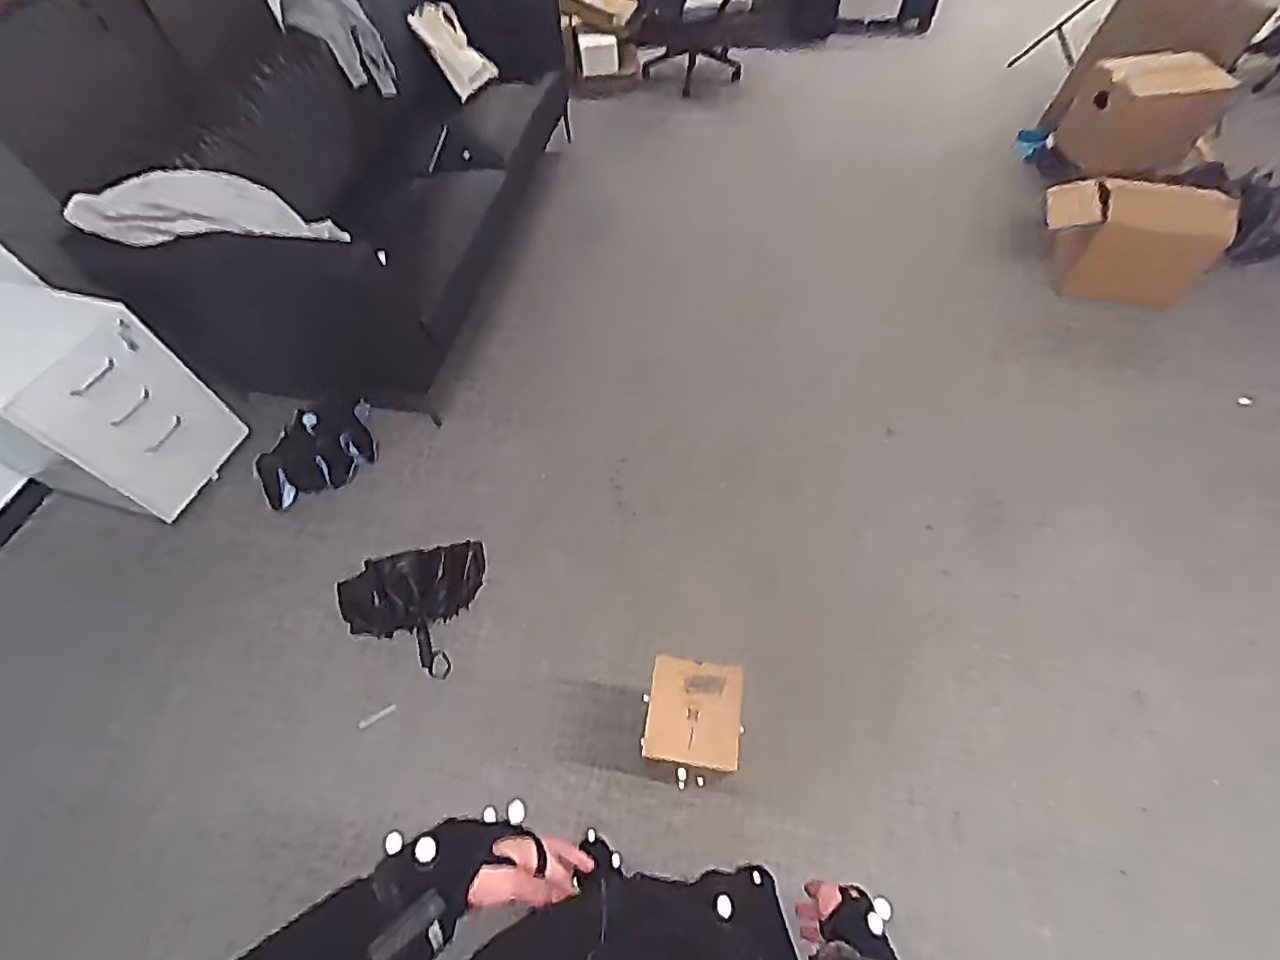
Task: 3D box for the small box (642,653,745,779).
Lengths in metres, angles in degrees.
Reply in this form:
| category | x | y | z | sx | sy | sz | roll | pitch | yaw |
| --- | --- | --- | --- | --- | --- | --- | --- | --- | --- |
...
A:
| category | x | y | z | sx | sy | sz | roll | pitch | yaw |
| --- | --- | --- | --- | --- | --- | --- | --- | --- | --- |
| small box | 0.098 | 0.447 | 1.017 | 0.168 | 0.176 | 0.179 | 7 | 59 | 7 |

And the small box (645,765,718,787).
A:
| category | x | y | z | sx | sy | sz | roll | pitch | yaw |
| --- | --- | --- | --- | --- | --- | --- | --- | --- | --- |
| small box | 0.108 | 0.624 | 1.293 | 0.168 | 0.176 | 0.179 | 6 | 57 | 6 |
